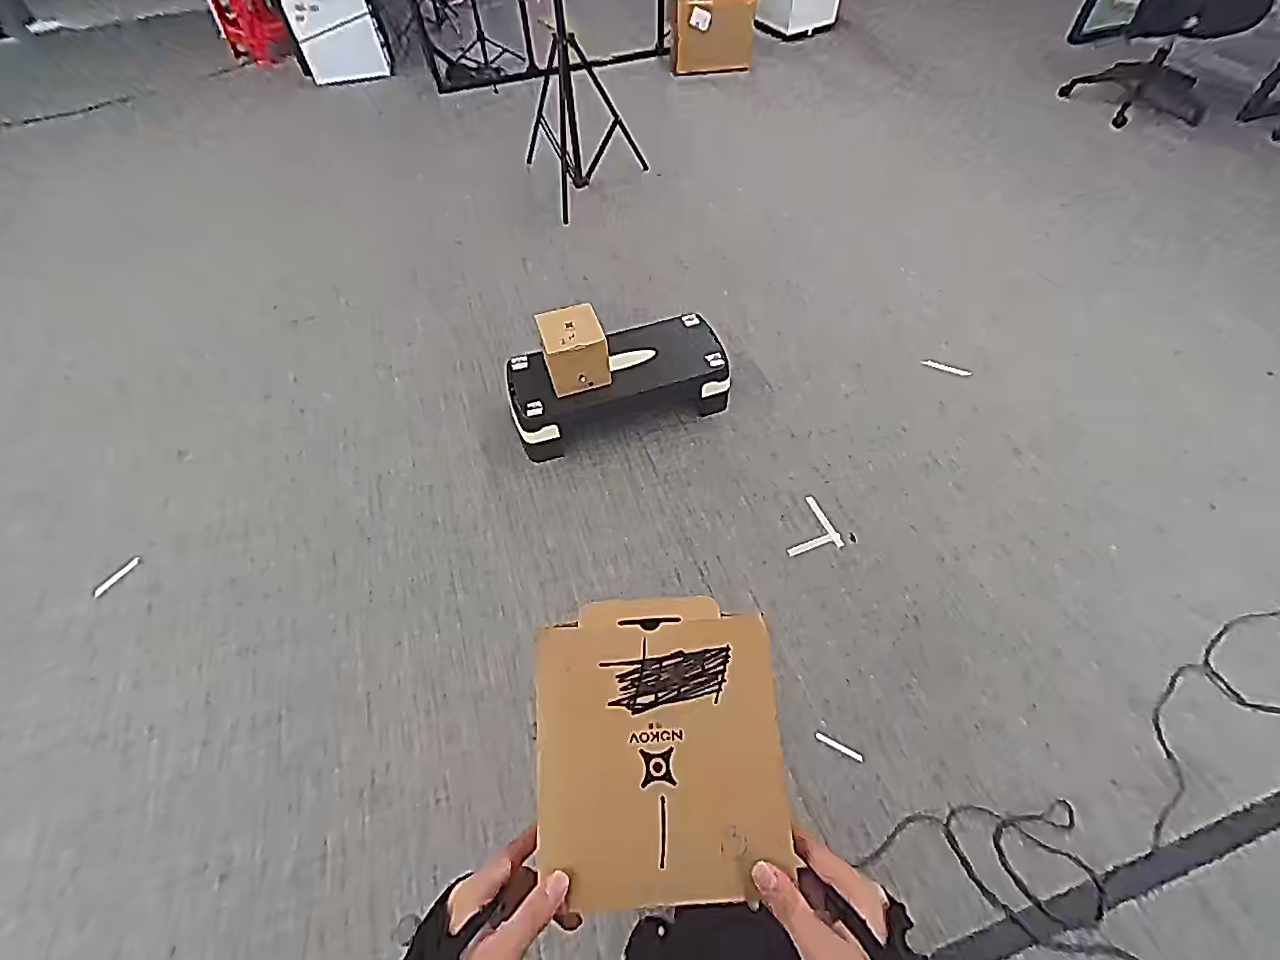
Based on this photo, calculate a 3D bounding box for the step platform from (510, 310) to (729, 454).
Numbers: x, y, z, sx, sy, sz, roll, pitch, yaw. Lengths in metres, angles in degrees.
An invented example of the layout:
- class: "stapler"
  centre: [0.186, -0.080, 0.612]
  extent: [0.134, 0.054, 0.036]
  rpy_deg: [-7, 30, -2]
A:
- class: "step platform"
  centre: [-0.063, -0.323, 1.736]
  extent: [0.684, 0.204, 0.286]
  rpy_deg: [-17, 56, -9]

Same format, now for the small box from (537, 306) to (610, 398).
- class: "small box"
  centre: [-0.190, -0.368, 1.561]
  extent: [0.168, 0.176, 0.179]
  rpy_deg: [-16, 57, -8]

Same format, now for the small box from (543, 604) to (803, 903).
- class: "small box"
  centre: [0.017, 0.201, 0.438]
  extent: [0.168, 0.176, 0.179]
  rpy_deg: [-4, 73, 0]
